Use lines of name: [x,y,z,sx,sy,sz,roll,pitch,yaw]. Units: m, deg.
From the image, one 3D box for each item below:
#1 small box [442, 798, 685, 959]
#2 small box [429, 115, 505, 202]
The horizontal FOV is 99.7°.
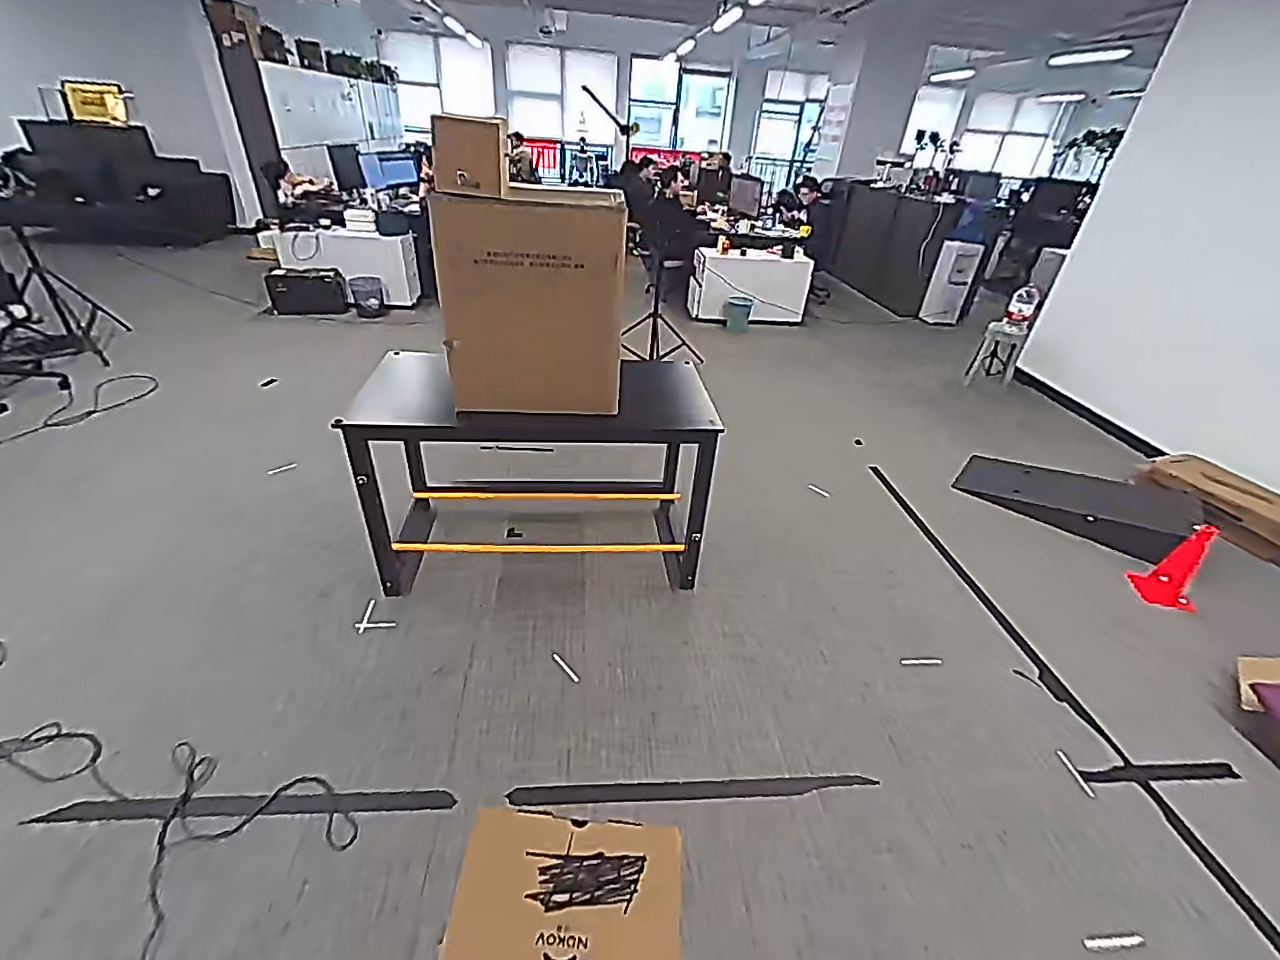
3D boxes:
small box: [-0.059,0.380,0.421,0.168,0.176,0.179,7,42,-1]
small box: [-0.441,-0.837,1.407,0.168,0.176,0.179,0,36,-10]
